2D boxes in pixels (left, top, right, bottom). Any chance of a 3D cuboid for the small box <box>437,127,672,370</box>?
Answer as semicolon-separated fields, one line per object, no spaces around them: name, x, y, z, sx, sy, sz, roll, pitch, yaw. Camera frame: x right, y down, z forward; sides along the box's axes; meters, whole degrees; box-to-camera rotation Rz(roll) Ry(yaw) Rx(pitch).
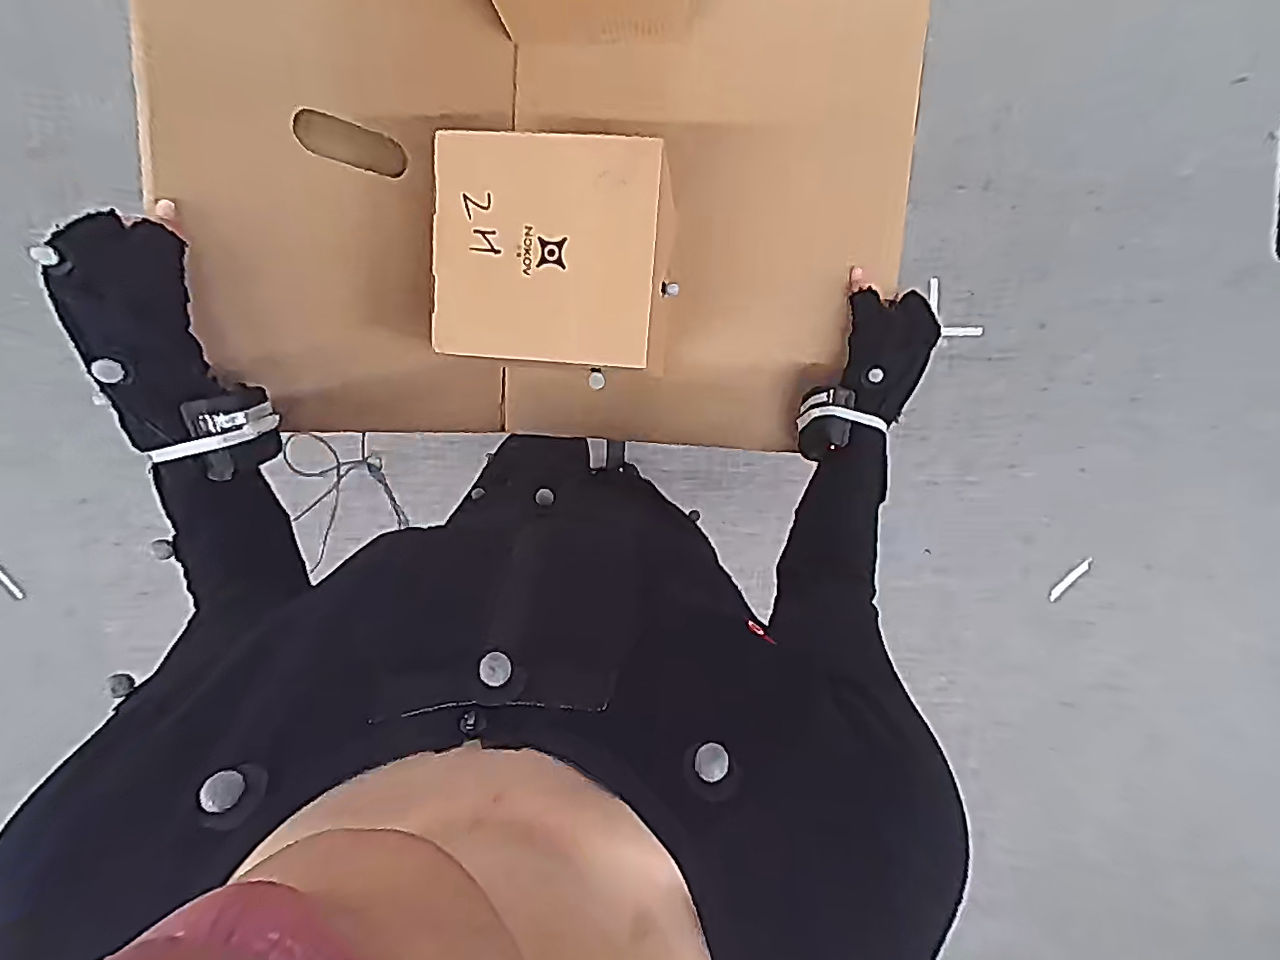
small box;-0.065;-0.193;0.499;0.179;0.176;0.168;6;99;6
